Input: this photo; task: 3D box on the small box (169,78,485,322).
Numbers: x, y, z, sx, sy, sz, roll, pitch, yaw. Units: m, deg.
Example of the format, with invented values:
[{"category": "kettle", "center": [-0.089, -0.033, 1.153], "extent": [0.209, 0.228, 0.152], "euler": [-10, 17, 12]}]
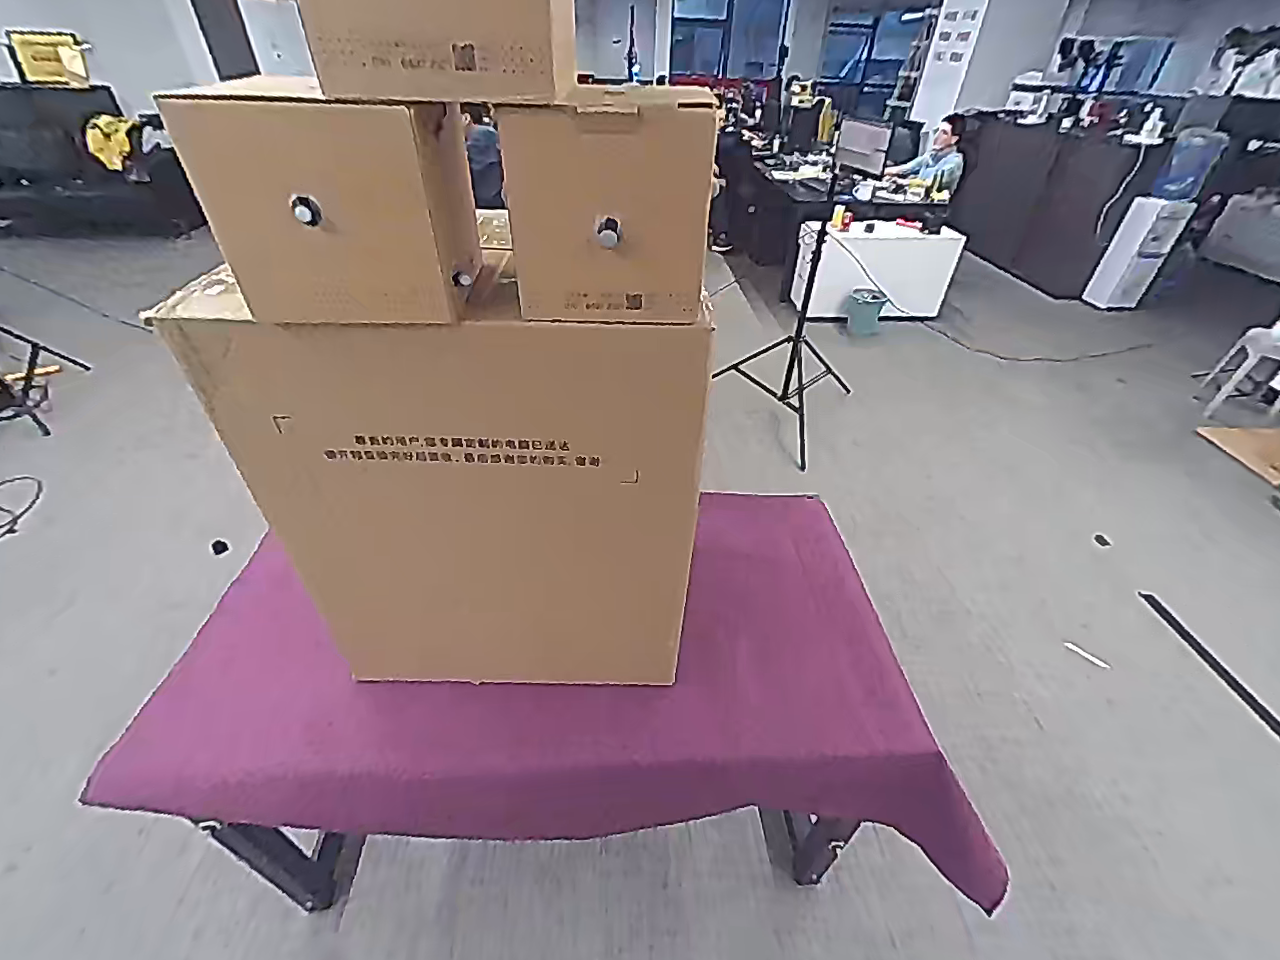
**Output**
[{"category": "small box", "center": [-0.249, -0.253, 0.494], "extent": [0.179, 0.176, 0.168], "euler": [-1, 39, -3]}]

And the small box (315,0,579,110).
[{"category": "small box", "center": [-0.135, -0.384, 0.402], "extent": [0.168, 0.176, 0.179], "euler": [2, 39, -2]}]

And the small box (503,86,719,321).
[{"category": "small box", "center": [-0.021, -0.263, 0.515], "extent": [0.168, 0.176, 0.179], "euler": [2, 40, -1]}]
